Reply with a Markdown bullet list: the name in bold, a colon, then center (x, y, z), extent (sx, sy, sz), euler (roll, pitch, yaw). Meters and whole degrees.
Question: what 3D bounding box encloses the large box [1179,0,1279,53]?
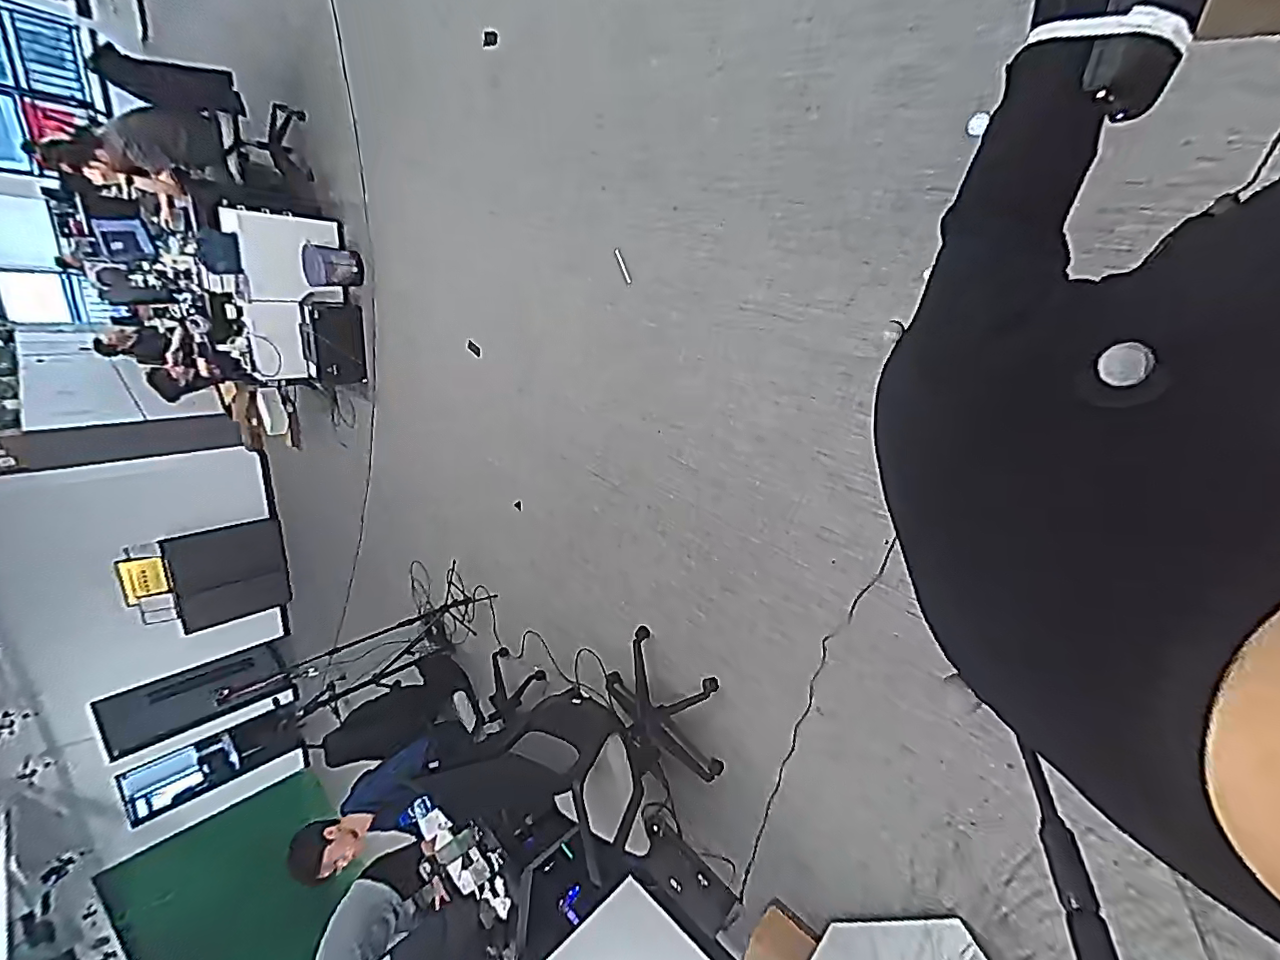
- **large box**: center (0.582, -0.437, 0.250), extent (0.408, 0.320, 0.320), euler (25, 129, 36)
